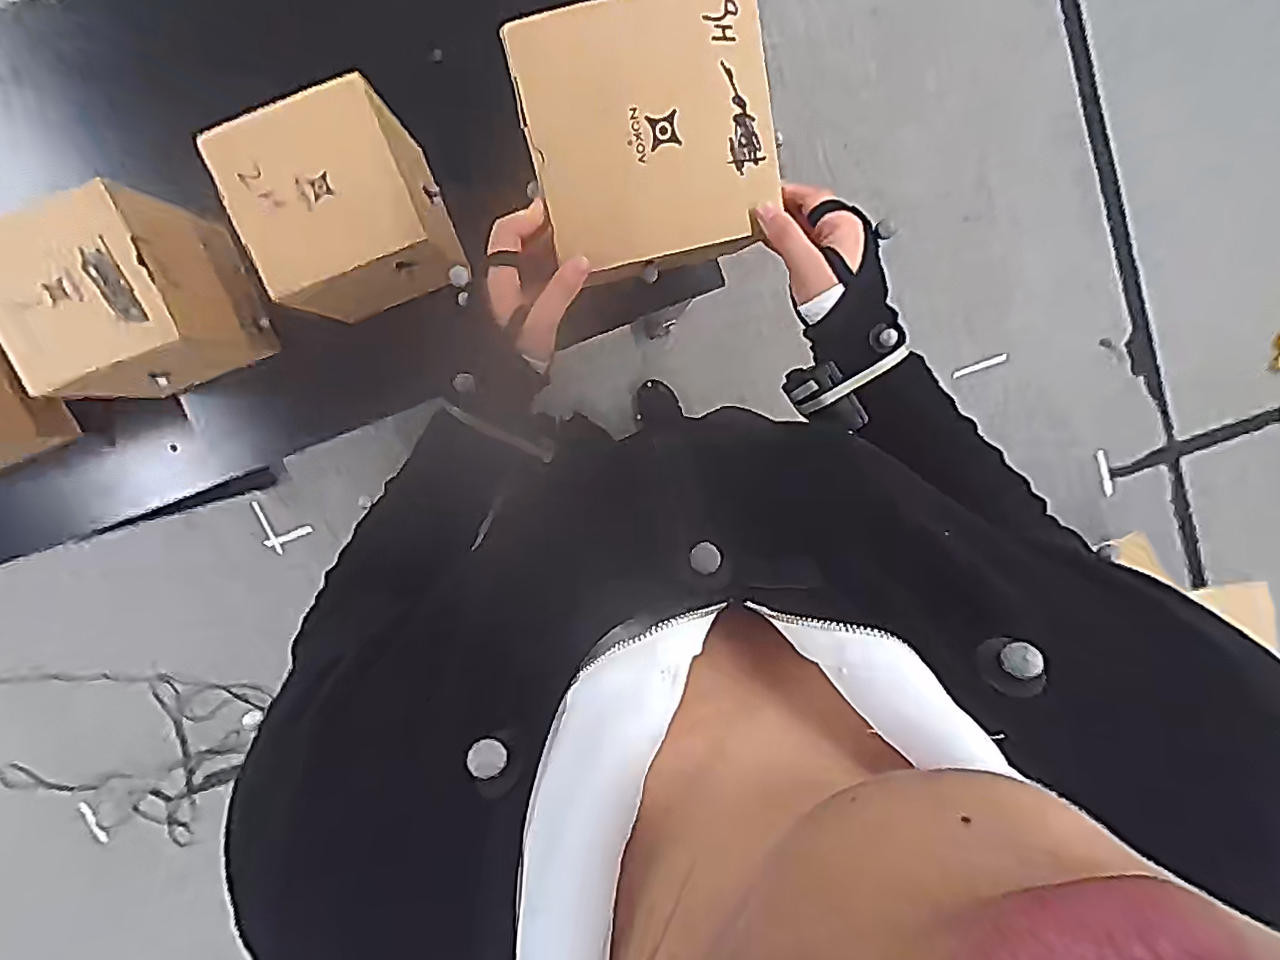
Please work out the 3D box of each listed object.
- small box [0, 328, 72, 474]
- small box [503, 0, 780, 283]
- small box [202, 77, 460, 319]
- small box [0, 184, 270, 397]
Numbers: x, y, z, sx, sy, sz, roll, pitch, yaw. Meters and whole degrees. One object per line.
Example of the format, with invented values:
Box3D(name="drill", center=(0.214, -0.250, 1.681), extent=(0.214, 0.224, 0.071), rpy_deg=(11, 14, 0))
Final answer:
Box3D(name="small box", center=(-0.849, -0.090, 0.640), extent=(0.179, 0.176, 0.168), rpy_deg=(-23, 98, 3))
Box3D(name="small box", center=(0.004, -0.273, 0.463), extent=(0.179, 0.176, 0.168), rpy_deg=(-12, 107, 2))
Box3D(name="small box", center=(-0.326, -0.302, 0.620), extent=(0.179, 0.176, 0.168), rpy_deg=(-22, 98, 2))
Box3D(name="small box", center=(-0.578, -0.205, 0.629), extent=(0.179, 0.176, 0.168), rpy_deg=(-20, 99, 3))
